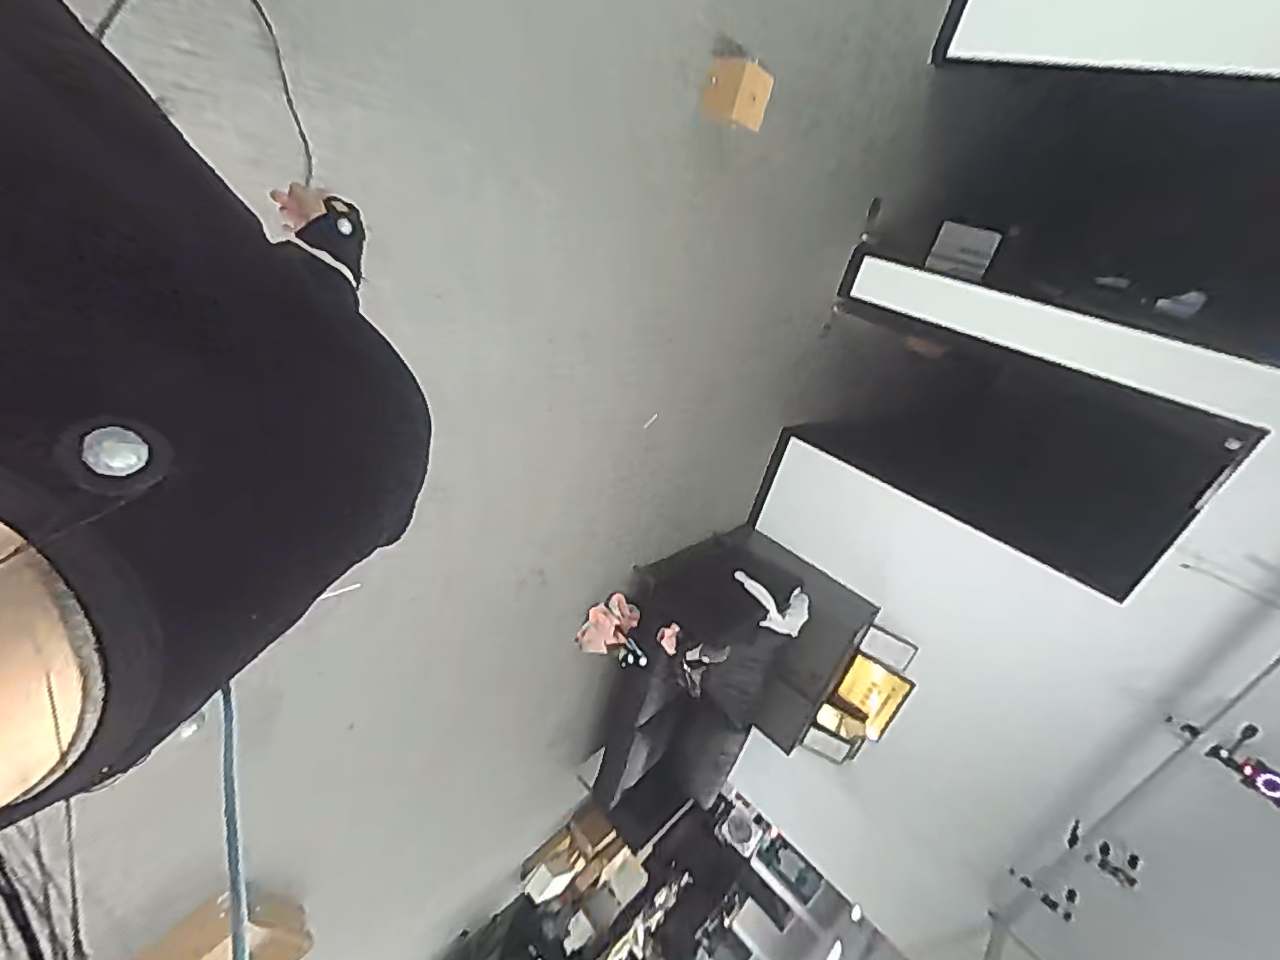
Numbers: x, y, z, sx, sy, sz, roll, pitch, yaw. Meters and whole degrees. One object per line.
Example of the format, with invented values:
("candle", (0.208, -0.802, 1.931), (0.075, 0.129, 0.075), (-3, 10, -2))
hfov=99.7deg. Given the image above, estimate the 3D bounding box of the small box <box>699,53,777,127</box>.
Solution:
("small box", (0.334, -1.348, 1.864), (0.179, 0.176, 0.168), (-13, 129, -45))
